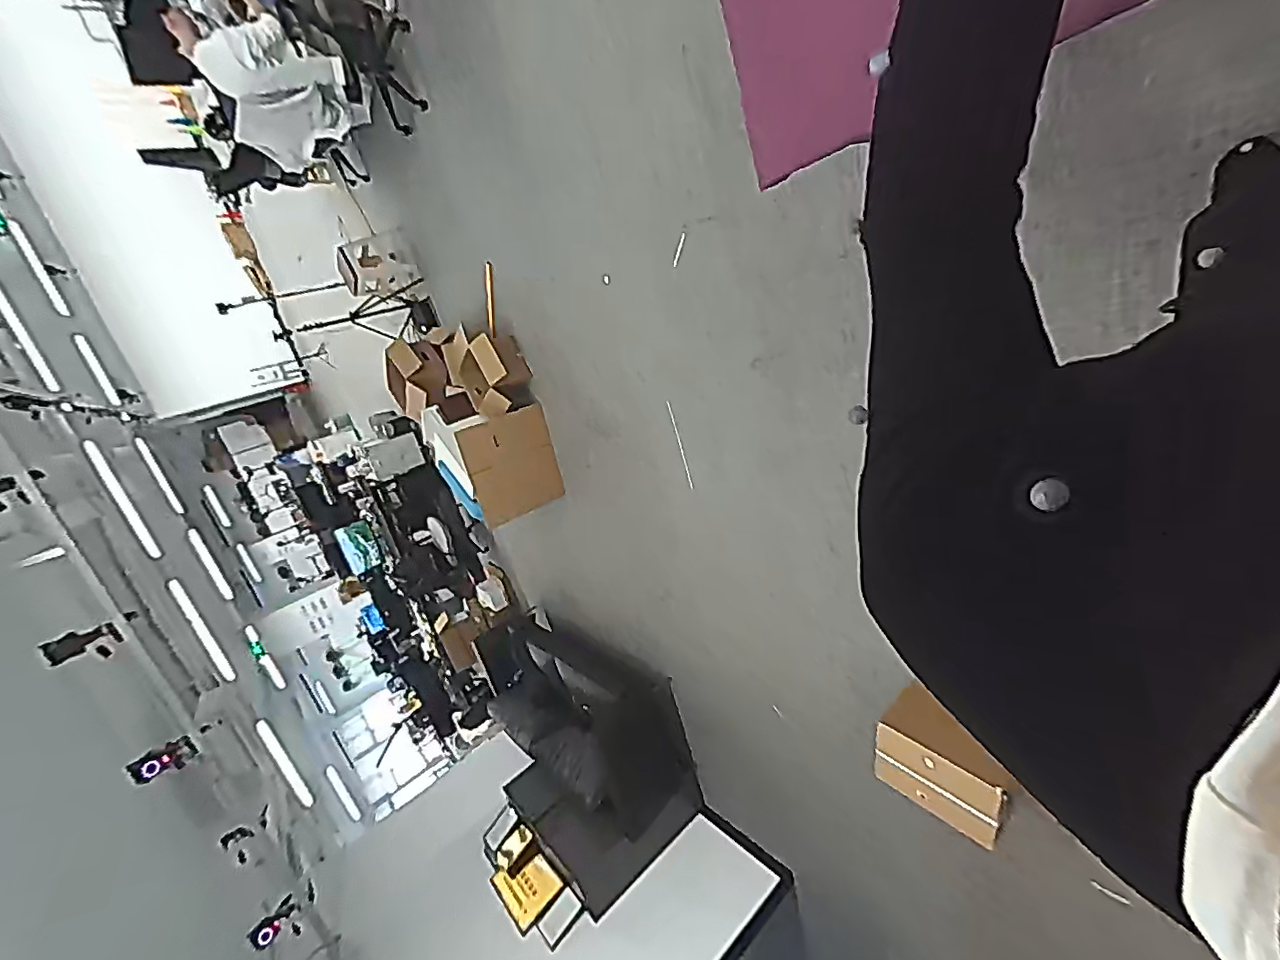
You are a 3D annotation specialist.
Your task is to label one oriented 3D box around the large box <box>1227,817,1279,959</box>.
[{"bbox_3d":[1.669,0.994,1.187,0.320,0.320,0.408,55,146,10],"label":"large box"}]
